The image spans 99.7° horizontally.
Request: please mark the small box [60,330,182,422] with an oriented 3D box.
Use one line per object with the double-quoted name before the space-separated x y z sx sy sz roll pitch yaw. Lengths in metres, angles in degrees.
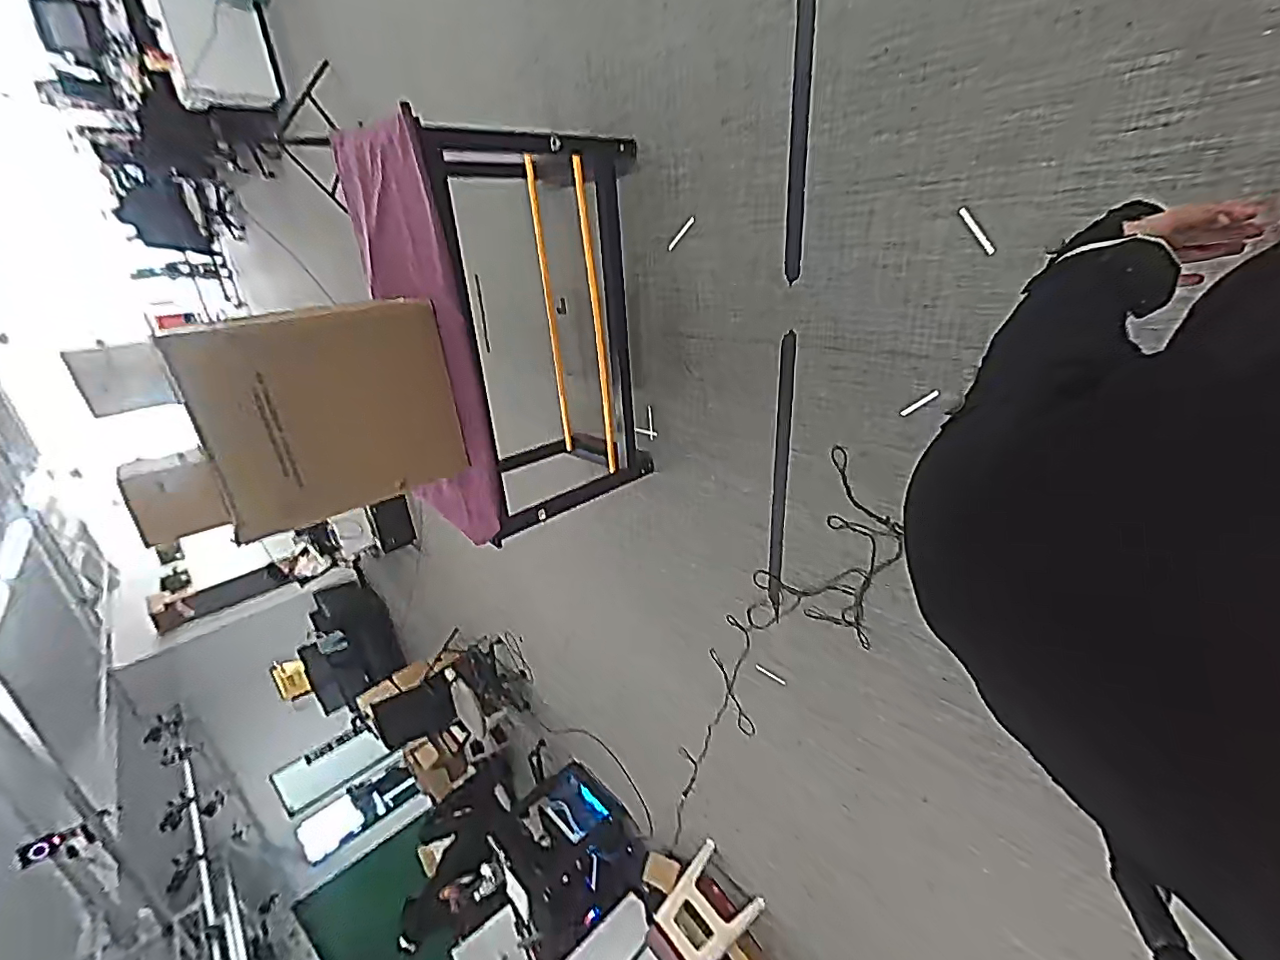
"small box" -1.296 -0.269 1.353 0.168 0.176 0.179 25 129 41
